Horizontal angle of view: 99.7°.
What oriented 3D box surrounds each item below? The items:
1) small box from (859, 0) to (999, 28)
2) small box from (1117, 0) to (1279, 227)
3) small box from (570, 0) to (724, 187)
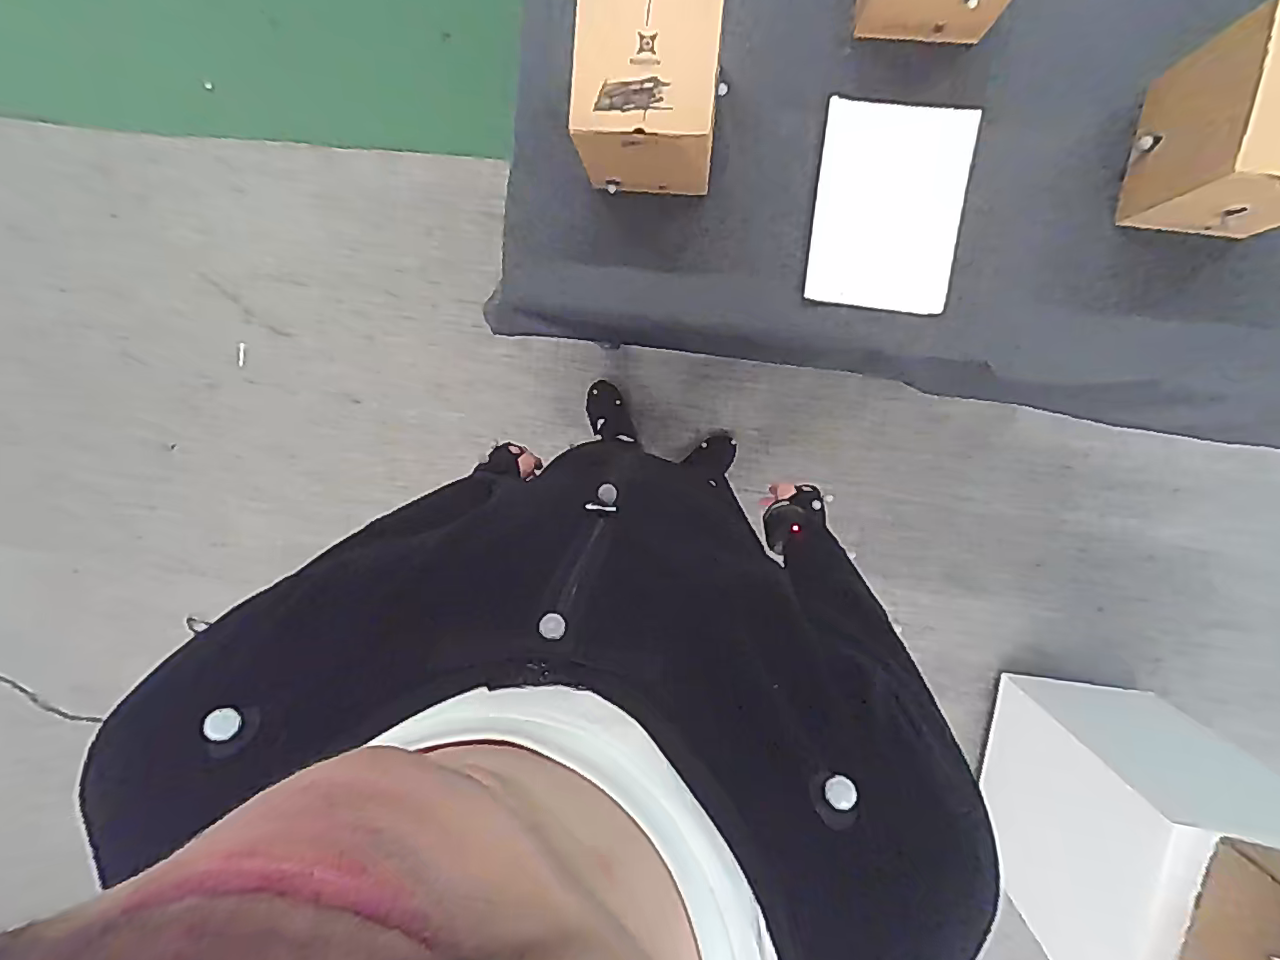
[{"bbox_3d":[0.362,-0.661,0.611,0.168,0.176,0.179,7,99,4],"label":"small box"},{"bbox_3d":[0.715,-0.410,0.628,0.168,0.176,0.179,8,100,4],"label":"small box"},{"bbox_3d":[0.015,-0.493,0.685,0.168,0.176,0.179,6,99,4],"label":"small box"}]
